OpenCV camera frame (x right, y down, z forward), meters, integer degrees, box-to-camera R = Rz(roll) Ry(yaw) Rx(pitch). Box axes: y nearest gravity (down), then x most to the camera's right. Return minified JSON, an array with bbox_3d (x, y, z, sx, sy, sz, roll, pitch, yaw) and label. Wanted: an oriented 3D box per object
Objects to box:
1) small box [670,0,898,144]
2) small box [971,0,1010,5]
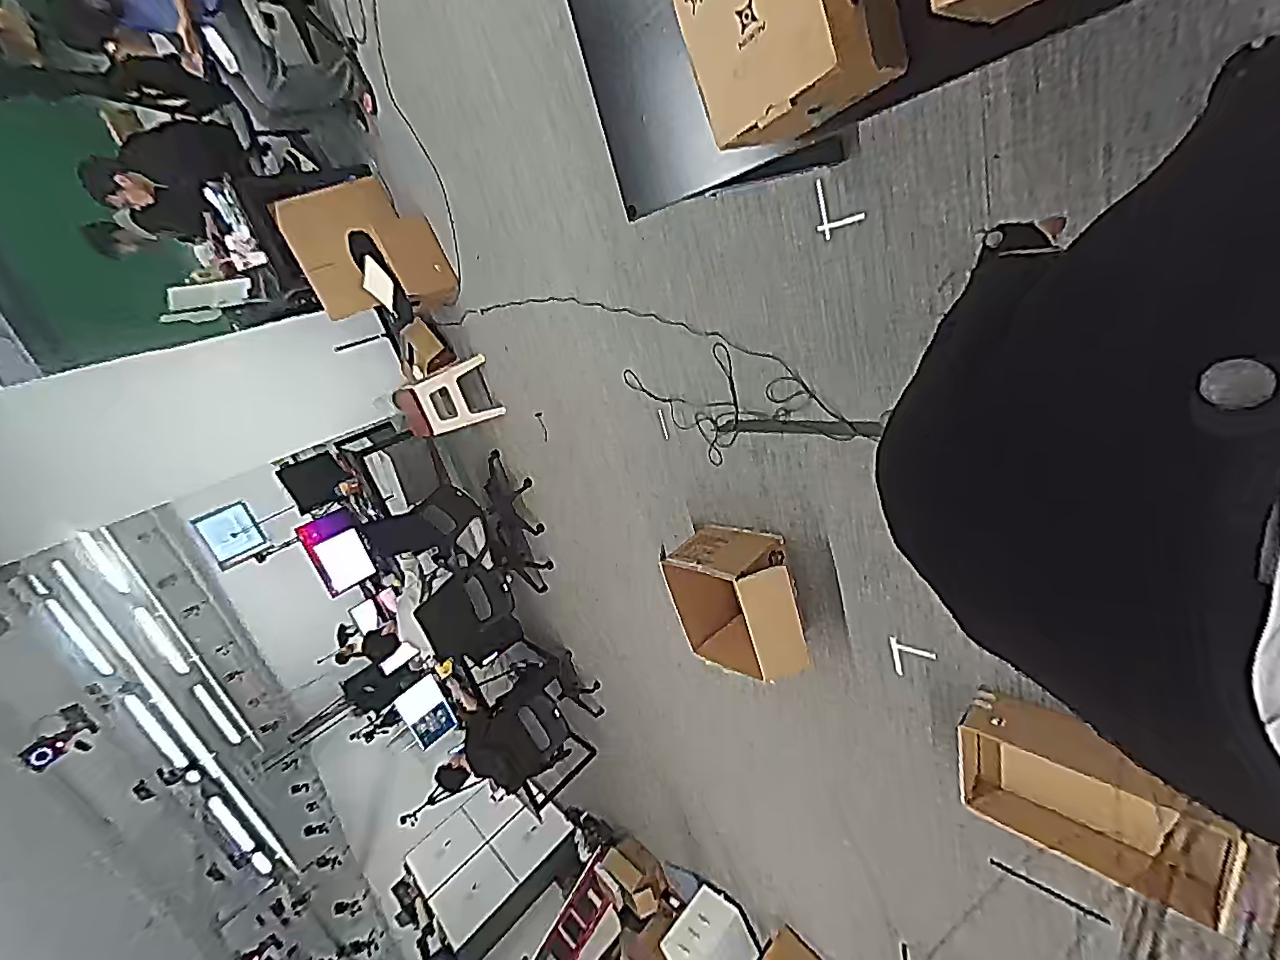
[{"bbox_3d":[0.167,-0.521,0.615,0.168,0.176,0.179,-2,115,52],"label":"small box"},{"bbox_3d":[0.333,-0.512,0.419,0.179,0.176,0.168,4,120,49],"label":"small box"}]
